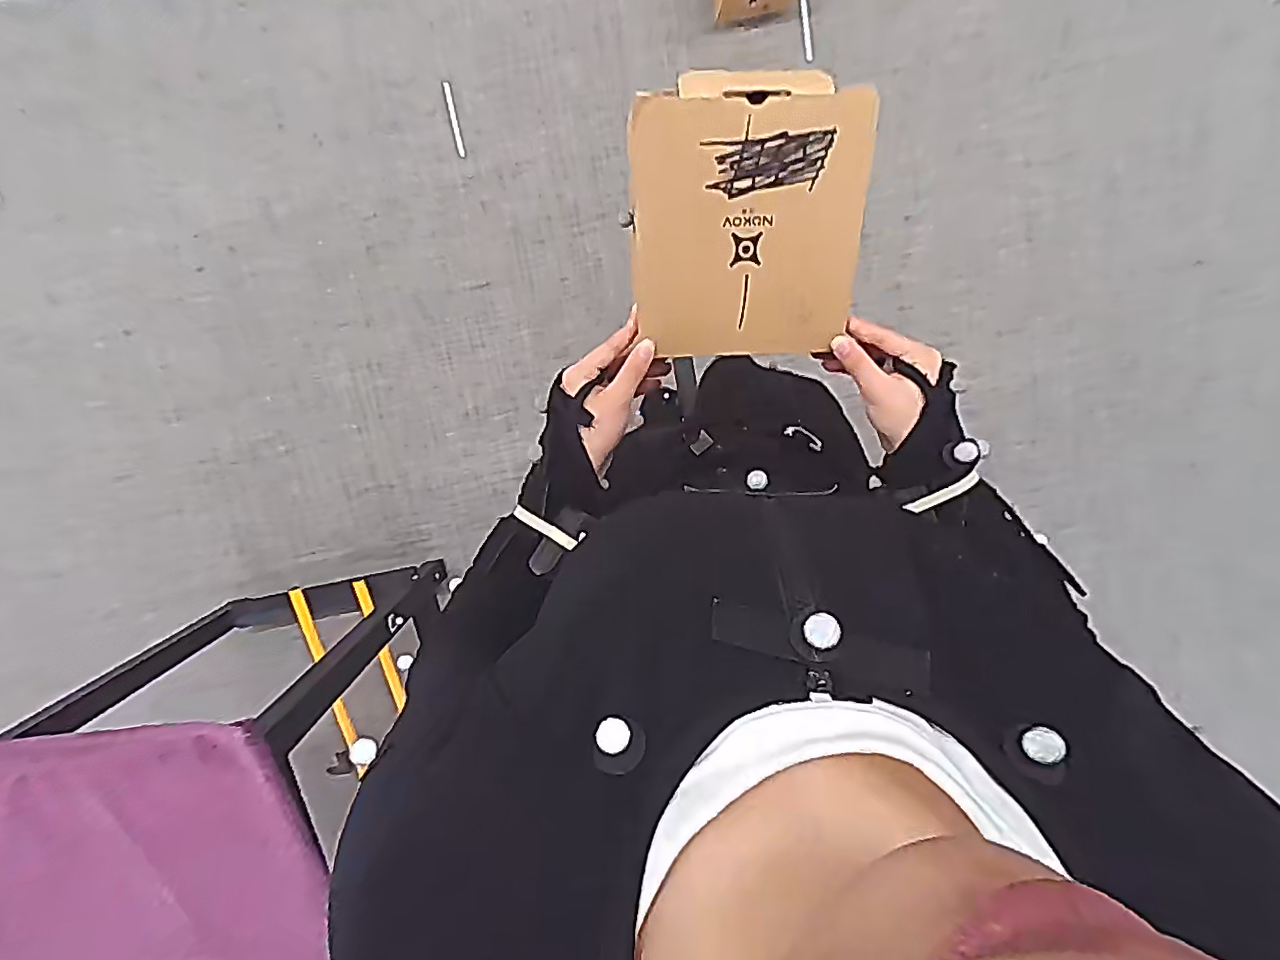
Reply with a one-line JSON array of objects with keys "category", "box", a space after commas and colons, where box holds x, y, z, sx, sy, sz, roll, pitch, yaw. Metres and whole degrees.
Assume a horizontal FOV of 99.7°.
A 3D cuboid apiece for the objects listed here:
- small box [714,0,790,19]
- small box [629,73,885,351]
[{"category": "small box", "box": [0.232, -1.076, 1.073, 0.168, 0.176, 0.179, -11, 102, 0]}, {"category": "small box", "box": [0.077, -0.215, 0.454, 0.168, 0.176, 0.179, -2, 117, -1]}]
